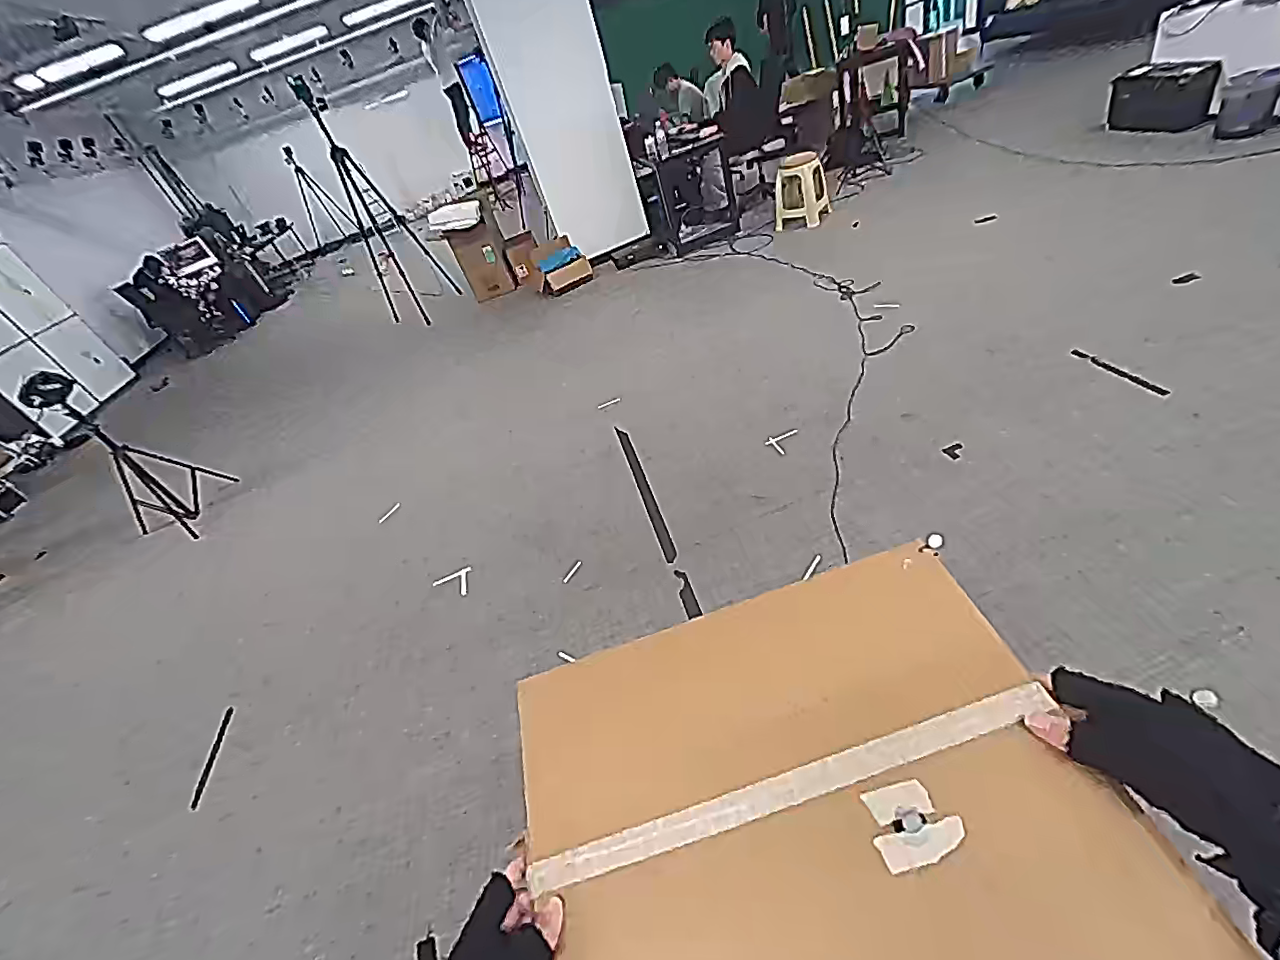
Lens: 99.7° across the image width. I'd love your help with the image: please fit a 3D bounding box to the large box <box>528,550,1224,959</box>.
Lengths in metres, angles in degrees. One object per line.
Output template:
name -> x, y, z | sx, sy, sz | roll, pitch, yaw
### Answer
large box -> 0.150, 0.335, 0.517 | 0.408, 0.320, 0.320 | -20, 46, -1
